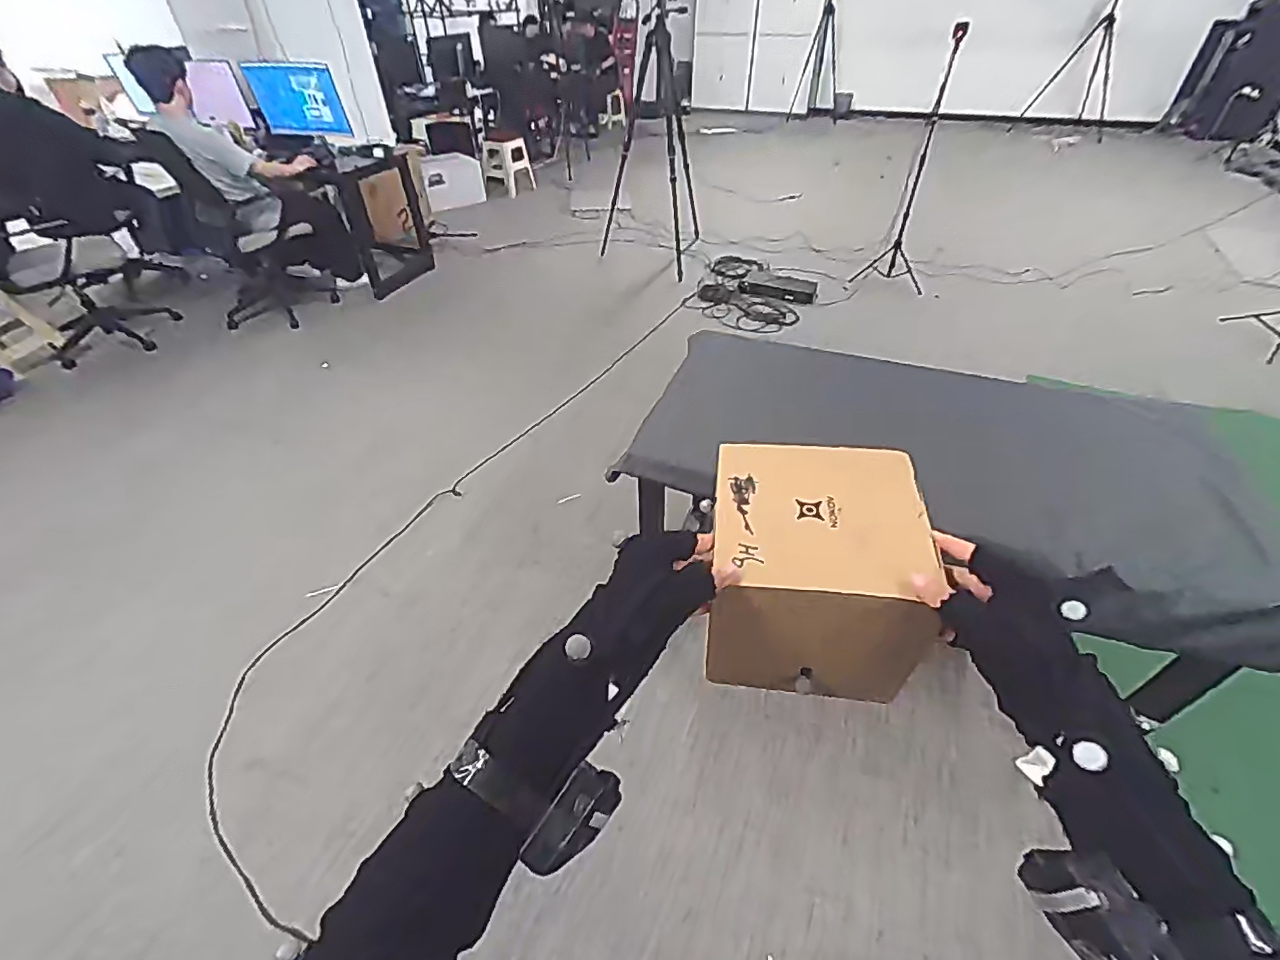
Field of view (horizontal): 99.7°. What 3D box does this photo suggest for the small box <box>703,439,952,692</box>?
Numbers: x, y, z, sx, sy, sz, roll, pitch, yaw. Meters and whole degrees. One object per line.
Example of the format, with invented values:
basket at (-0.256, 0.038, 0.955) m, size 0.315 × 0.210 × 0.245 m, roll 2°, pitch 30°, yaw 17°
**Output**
small box at (0.158, 0.083, 0.517) m, size 0.179 × 0.176 × 0.168 m, roll 5°, pitch 44°, yaw 7°
